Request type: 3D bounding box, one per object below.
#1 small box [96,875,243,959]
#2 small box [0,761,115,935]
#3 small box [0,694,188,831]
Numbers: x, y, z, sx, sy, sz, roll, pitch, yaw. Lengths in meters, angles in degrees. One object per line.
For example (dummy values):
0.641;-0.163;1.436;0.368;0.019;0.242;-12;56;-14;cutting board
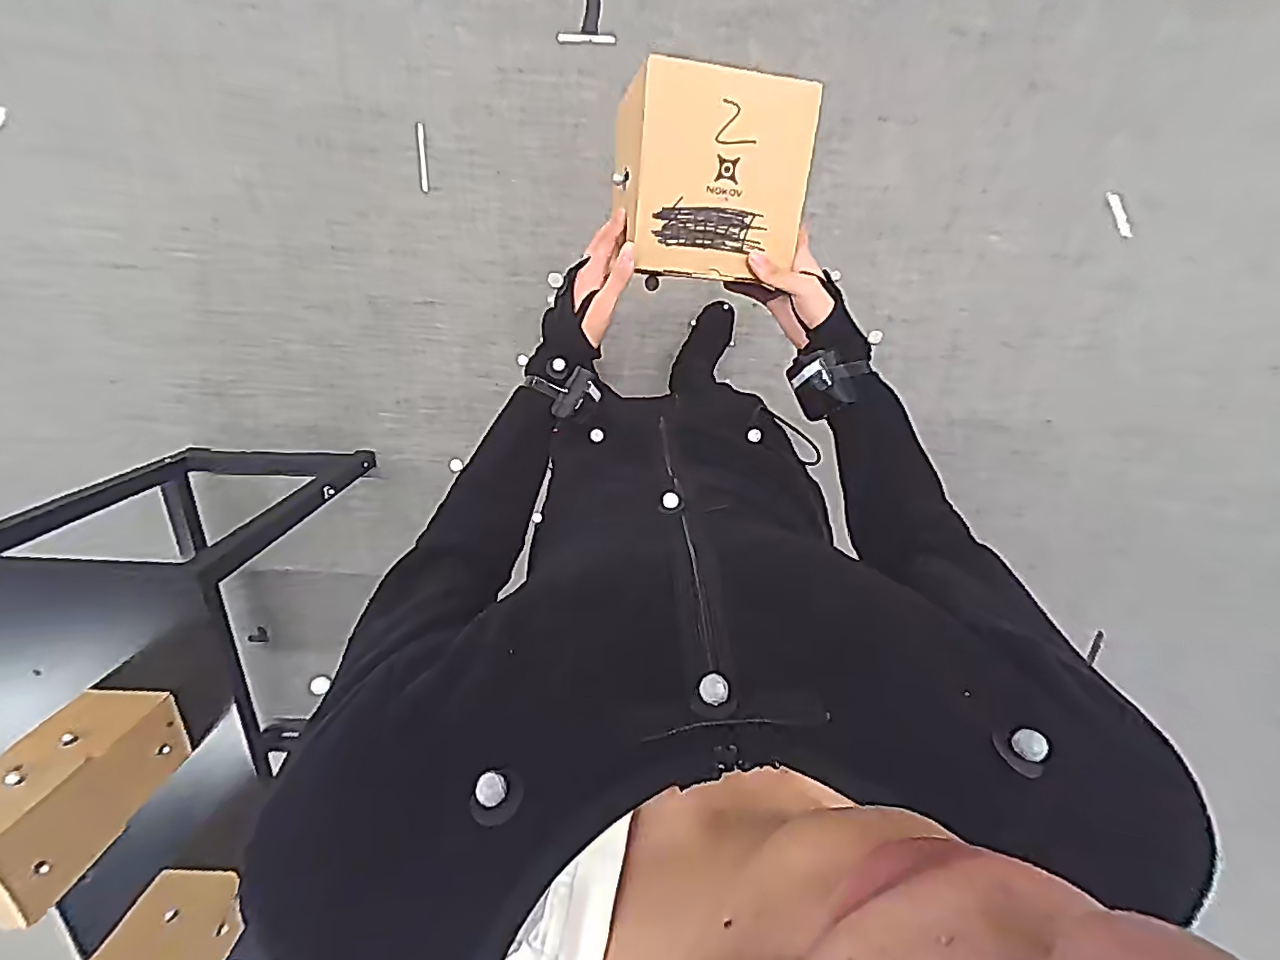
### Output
-1.044;1.032;1.223;0.179;0.176;0.168;1;111;0;small box
-1.024;0.591;0.877;0.168;0.176;0.179;-1;111;1;small box
-1.029;0.531;1.030;0.179;0.176;0.168;2;111;0;small box
